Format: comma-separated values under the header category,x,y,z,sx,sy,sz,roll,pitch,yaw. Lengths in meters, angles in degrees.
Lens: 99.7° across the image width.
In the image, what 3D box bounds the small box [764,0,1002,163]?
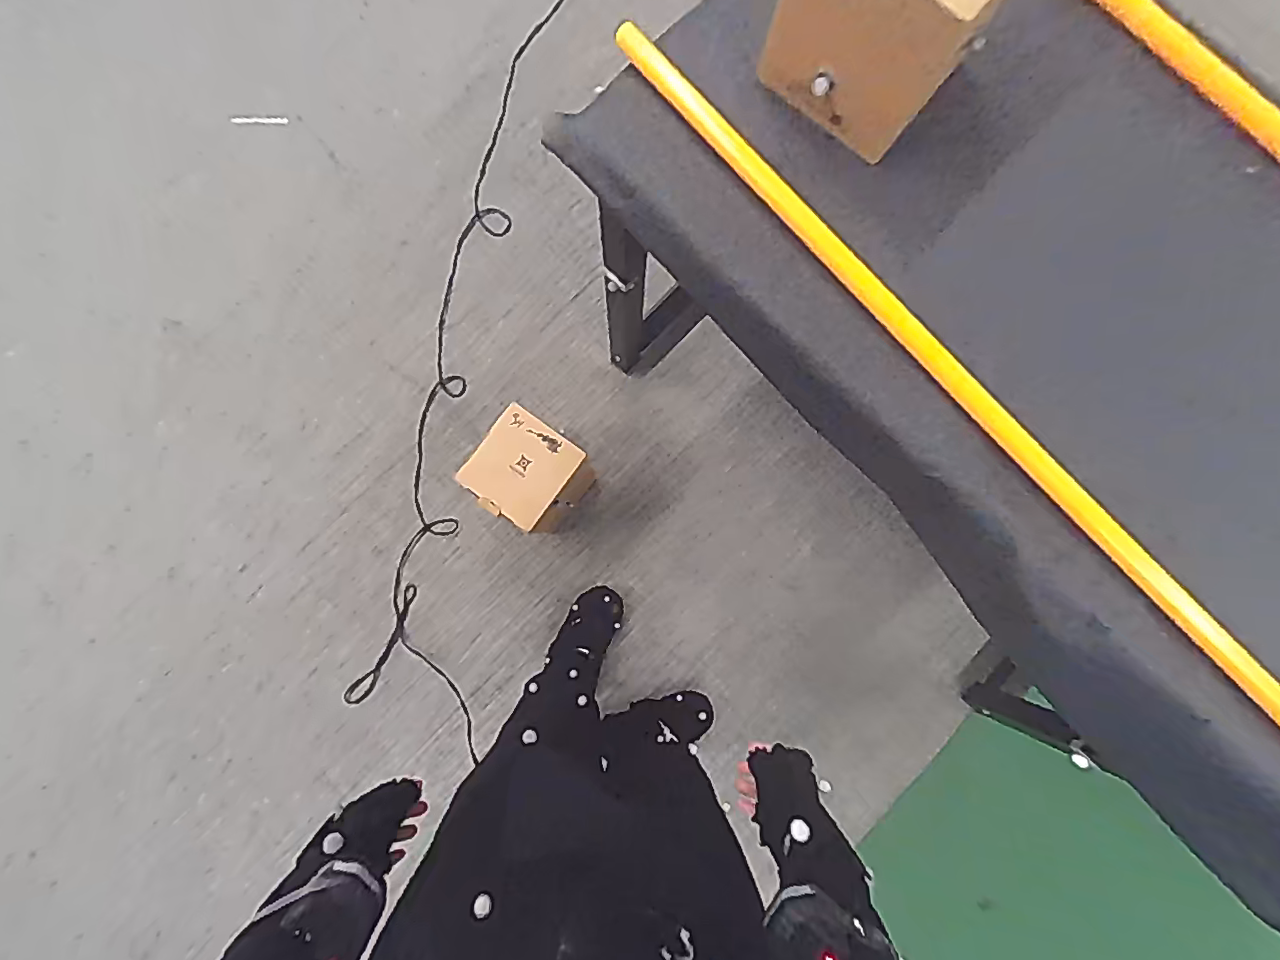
category,x,y,z,sx,sy,sz,roll,pitch,yaw
small box,0.244,-0.464,0.522,0.168,0.176,0.179,39,84,3

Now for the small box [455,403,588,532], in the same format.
category,x,y,z,sx,sy,sz,roll,pitch,yaw
small box,-0.211,-0.014,1.028,0.168,0.176,0.179,33,83,4
